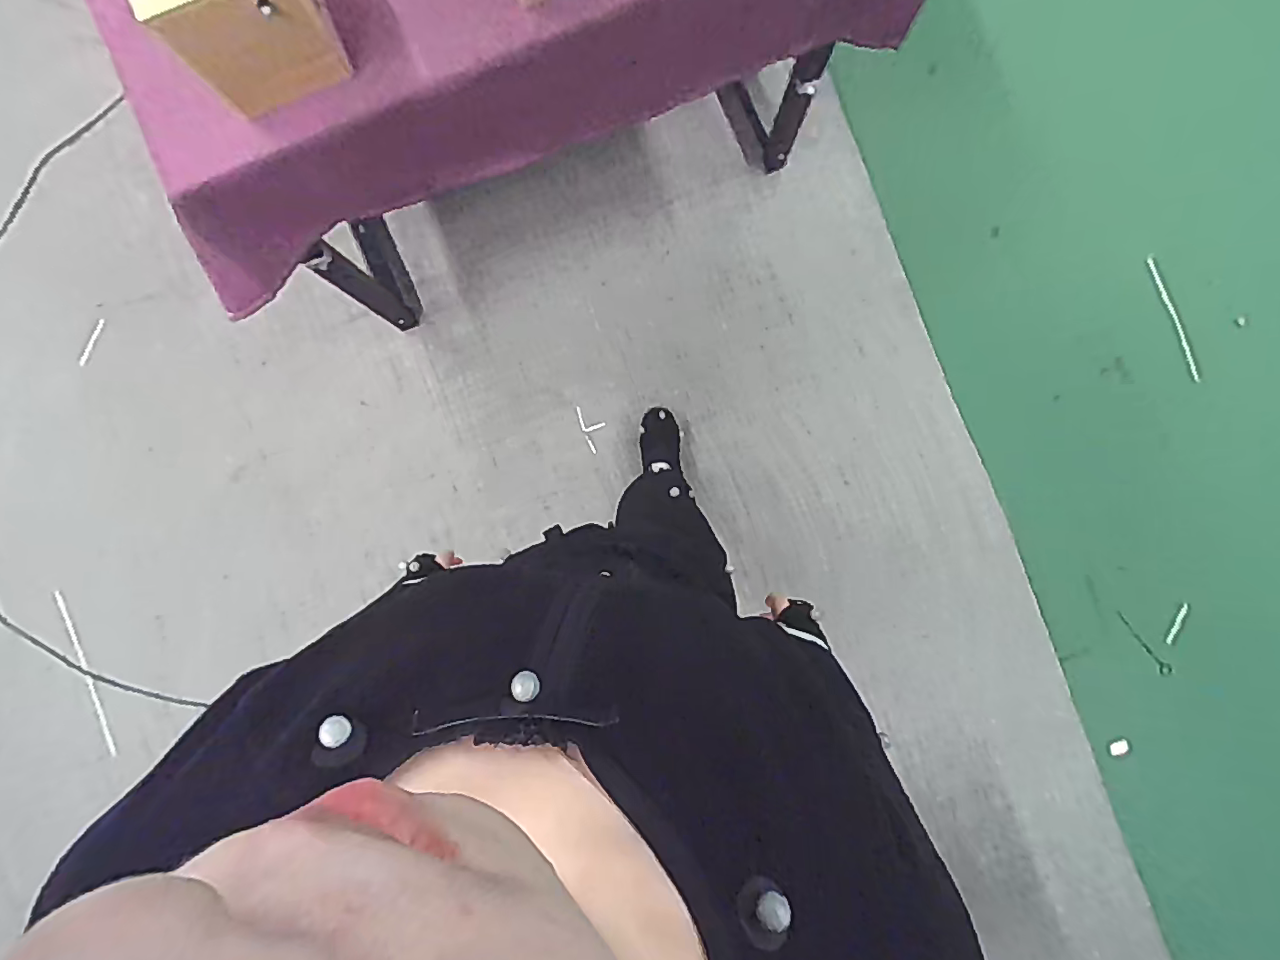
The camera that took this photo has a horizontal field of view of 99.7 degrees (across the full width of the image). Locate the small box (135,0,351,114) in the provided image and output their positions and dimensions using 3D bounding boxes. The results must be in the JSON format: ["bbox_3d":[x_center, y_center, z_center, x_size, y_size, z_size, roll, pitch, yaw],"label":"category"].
[{"bbox_3d":[-0.526,-0.632,0.711,0.179,0.176,0.168,-23,88,-2],"label":"small box"}]
